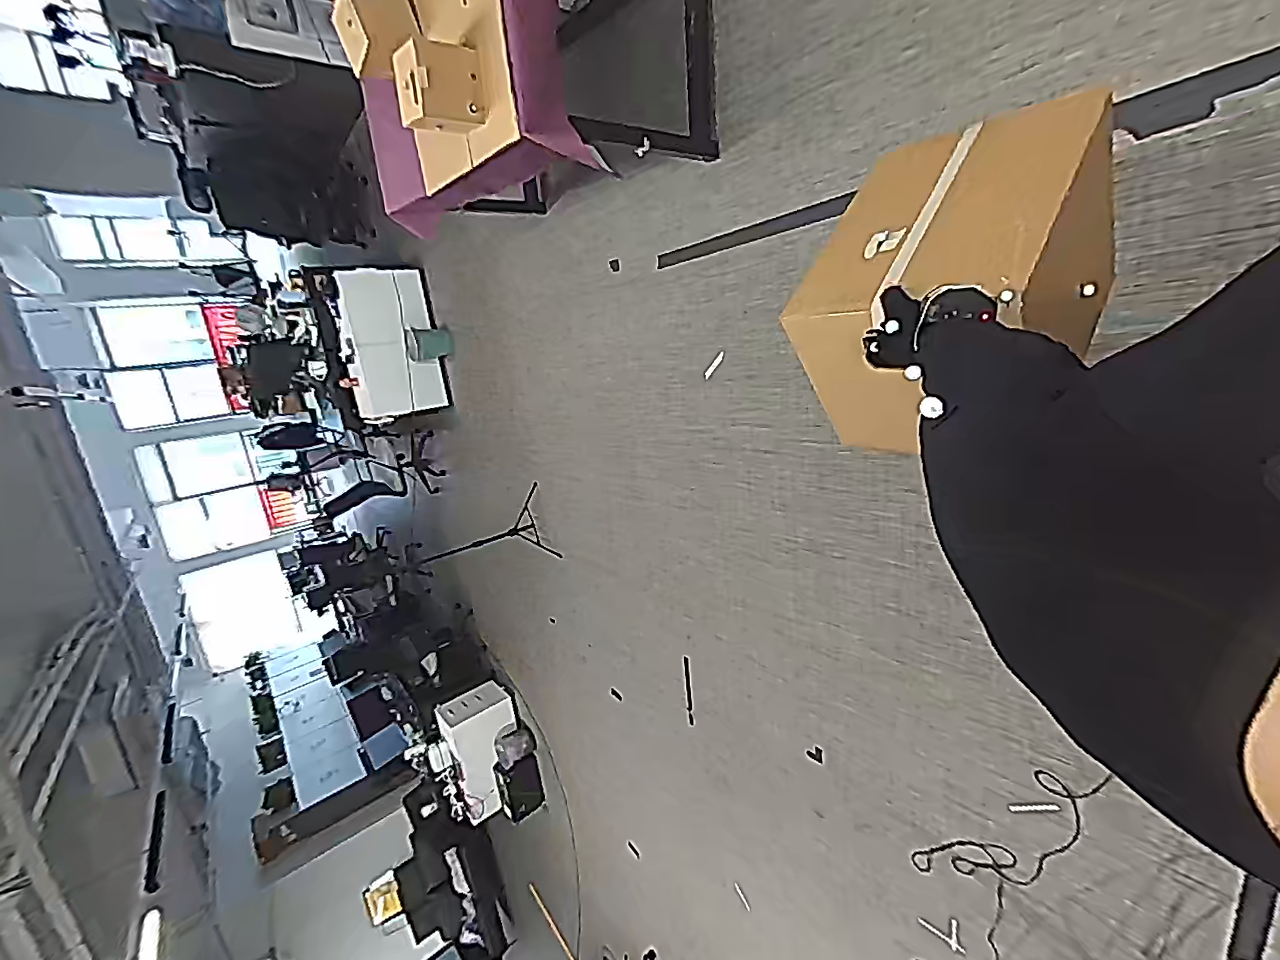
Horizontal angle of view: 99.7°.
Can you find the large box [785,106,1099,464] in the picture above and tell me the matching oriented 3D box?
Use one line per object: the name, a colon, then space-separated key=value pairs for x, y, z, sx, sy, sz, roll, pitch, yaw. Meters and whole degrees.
large box: x=0.500 y=-0.288 z=0.870 sx=0.320 sy=0.408 sz=0.320 roll=12 pitch=152 yaw=48
